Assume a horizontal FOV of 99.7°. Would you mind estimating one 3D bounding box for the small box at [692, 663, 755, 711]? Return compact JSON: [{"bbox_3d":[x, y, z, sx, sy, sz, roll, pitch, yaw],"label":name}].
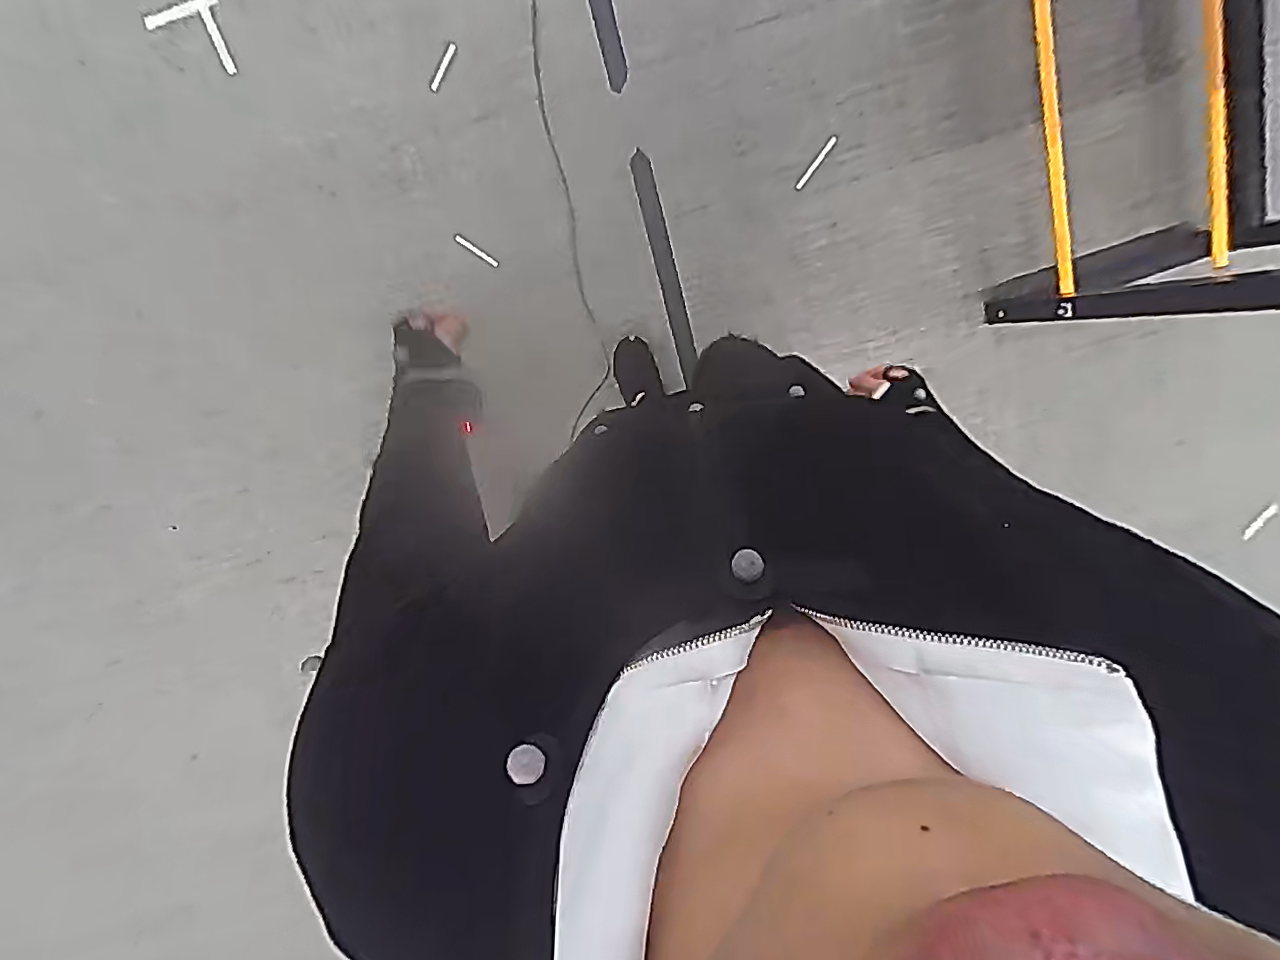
[{"bbox_3d":[0.259,0.669,1.612,0.168,0.176,0.179,-15,104,3],"label":"small box"}]
